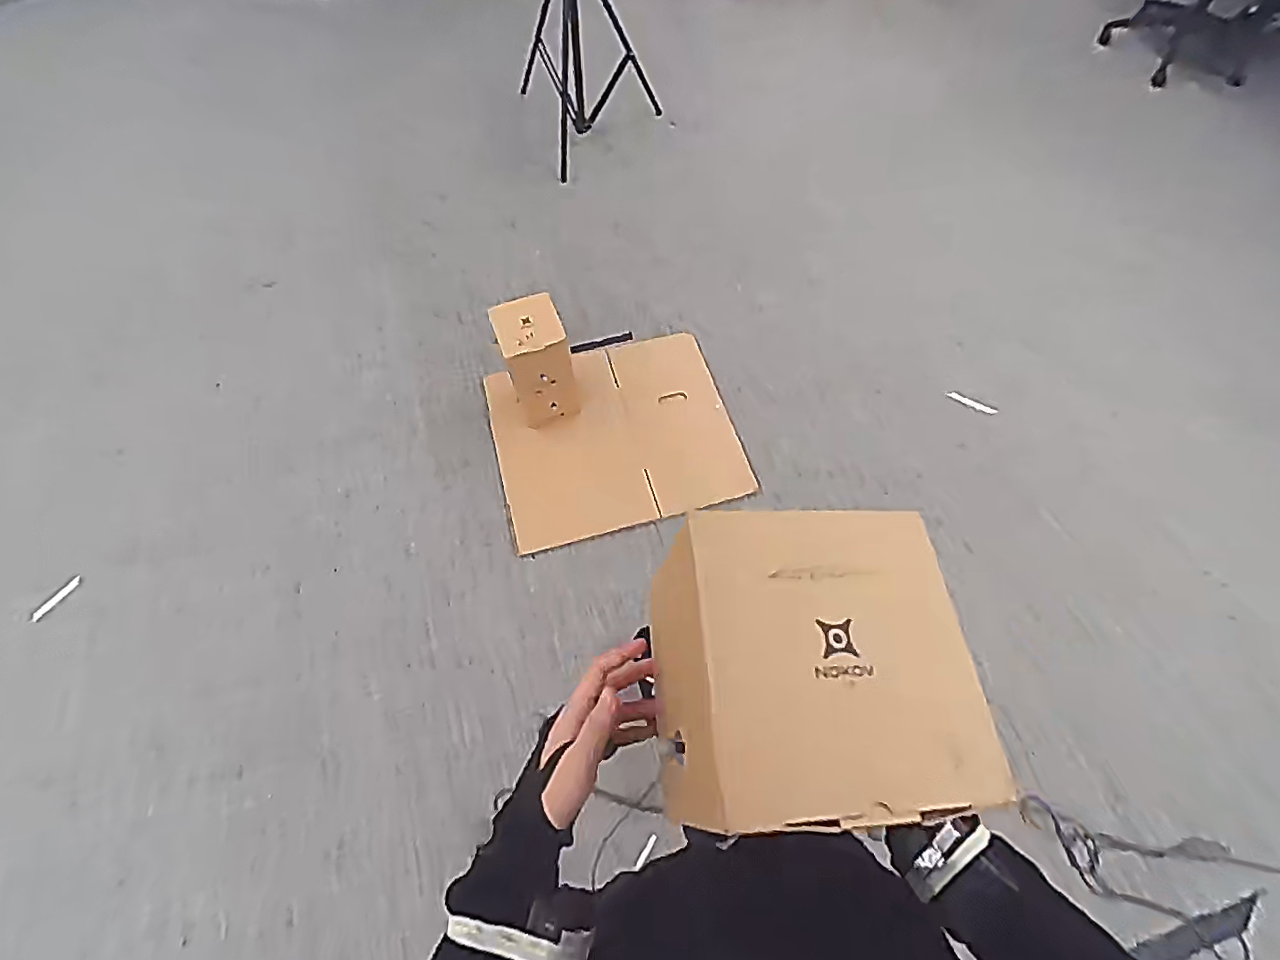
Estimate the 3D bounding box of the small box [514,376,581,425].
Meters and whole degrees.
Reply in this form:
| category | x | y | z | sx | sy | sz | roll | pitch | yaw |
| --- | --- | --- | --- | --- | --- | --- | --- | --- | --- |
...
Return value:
| category | x | y | z | sx | sy | sz | roll | pitch | yaw |
| --- | --- | --- | --- | --- | --- | --- | --- | --- | --- |
| small box | -0.279 | -0.283 | 1.584 | 0.168 | 0.176 | 0.179 | -21 | 67 | -11 |

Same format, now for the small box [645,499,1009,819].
| category | x | y | z | sx | sy | sz | roll | pitch | yaw |
| --- | --- | --- | --- | --- | --- | --- | --- | --- | --- |
| small box | 0.100 | 0.128 | 0.384 | 0.168 | 0.176 | 0.179 | 0 | 60 | -10 |

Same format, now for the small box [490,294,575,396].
| category | x | y | z | sx | sy | sz | roll | pitch | yaw |
| --- | --- | --- | --- | --- | --- | --- | --- | --- | --- |
| small box | -0.282 | -0.354 | 1.436 | 0.168 | 0.176 | 0.179 | -20 | 66 | -9 |
